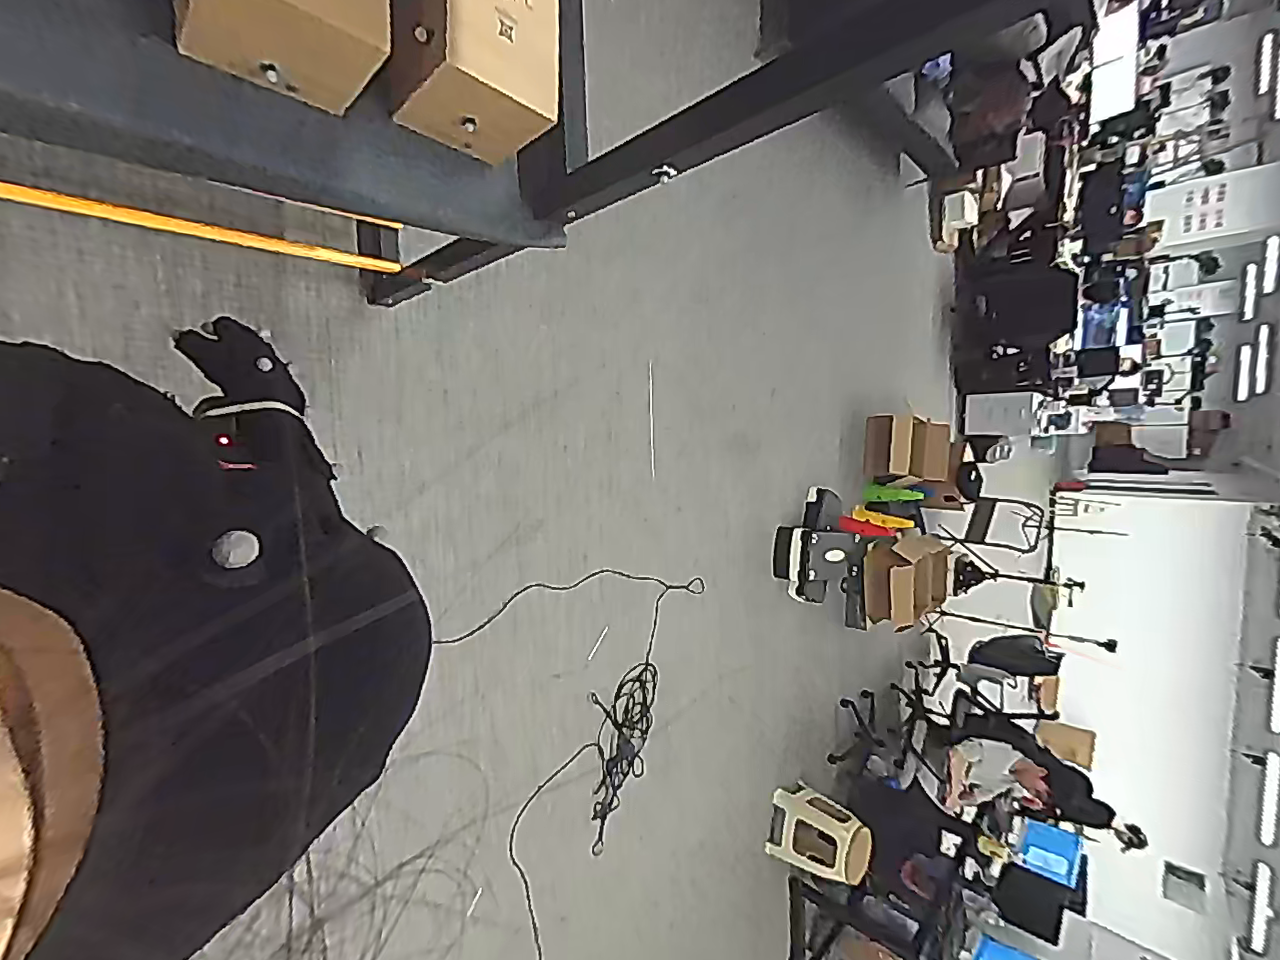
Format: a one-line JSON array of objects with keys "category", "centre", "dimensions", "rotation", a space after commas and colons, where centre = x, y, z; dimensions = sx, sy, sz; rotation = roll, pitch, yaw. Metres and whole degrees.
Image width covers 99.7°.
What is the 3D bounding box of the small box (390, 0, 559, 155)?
[{"category": "small box", "centre": [-0.230, -0.590, 0.746], "dimensions": [0.168, 0.176, 0.179], "rotation": [-2, 94, -46]}]
